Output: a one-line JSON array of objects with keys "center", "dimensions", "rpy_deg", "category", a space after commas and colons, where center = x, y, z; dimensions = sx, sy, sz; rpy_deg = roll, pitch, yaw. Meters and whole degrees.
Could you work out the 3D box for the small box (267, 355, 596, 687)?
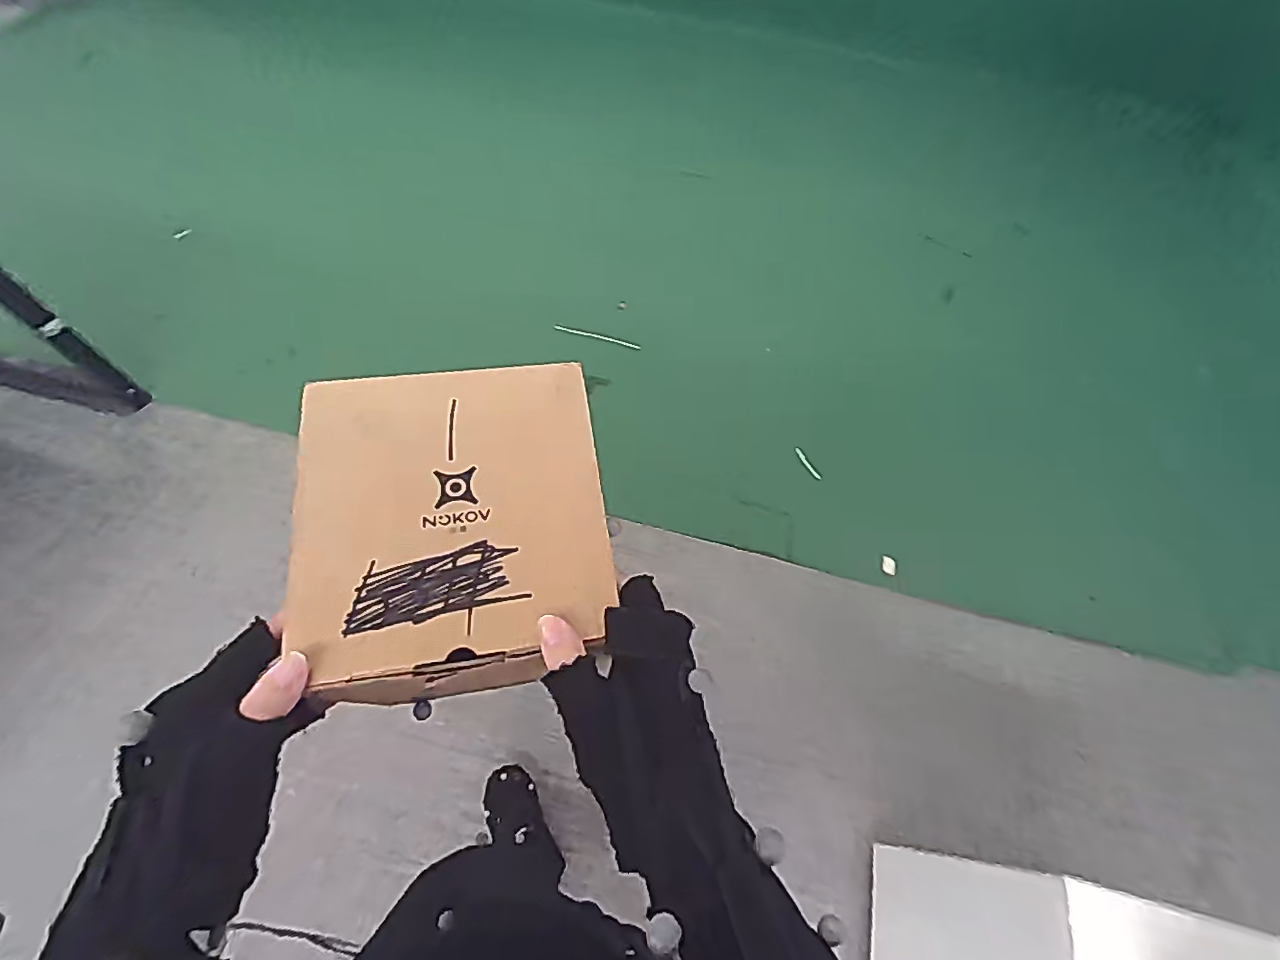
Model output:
[{"center": [-0.122, 0.040, 0.377], "dimensions": [0.168, 0.176, 0.179], "rpy_deg": [-7, 66, -10], "category": "small box"}]
